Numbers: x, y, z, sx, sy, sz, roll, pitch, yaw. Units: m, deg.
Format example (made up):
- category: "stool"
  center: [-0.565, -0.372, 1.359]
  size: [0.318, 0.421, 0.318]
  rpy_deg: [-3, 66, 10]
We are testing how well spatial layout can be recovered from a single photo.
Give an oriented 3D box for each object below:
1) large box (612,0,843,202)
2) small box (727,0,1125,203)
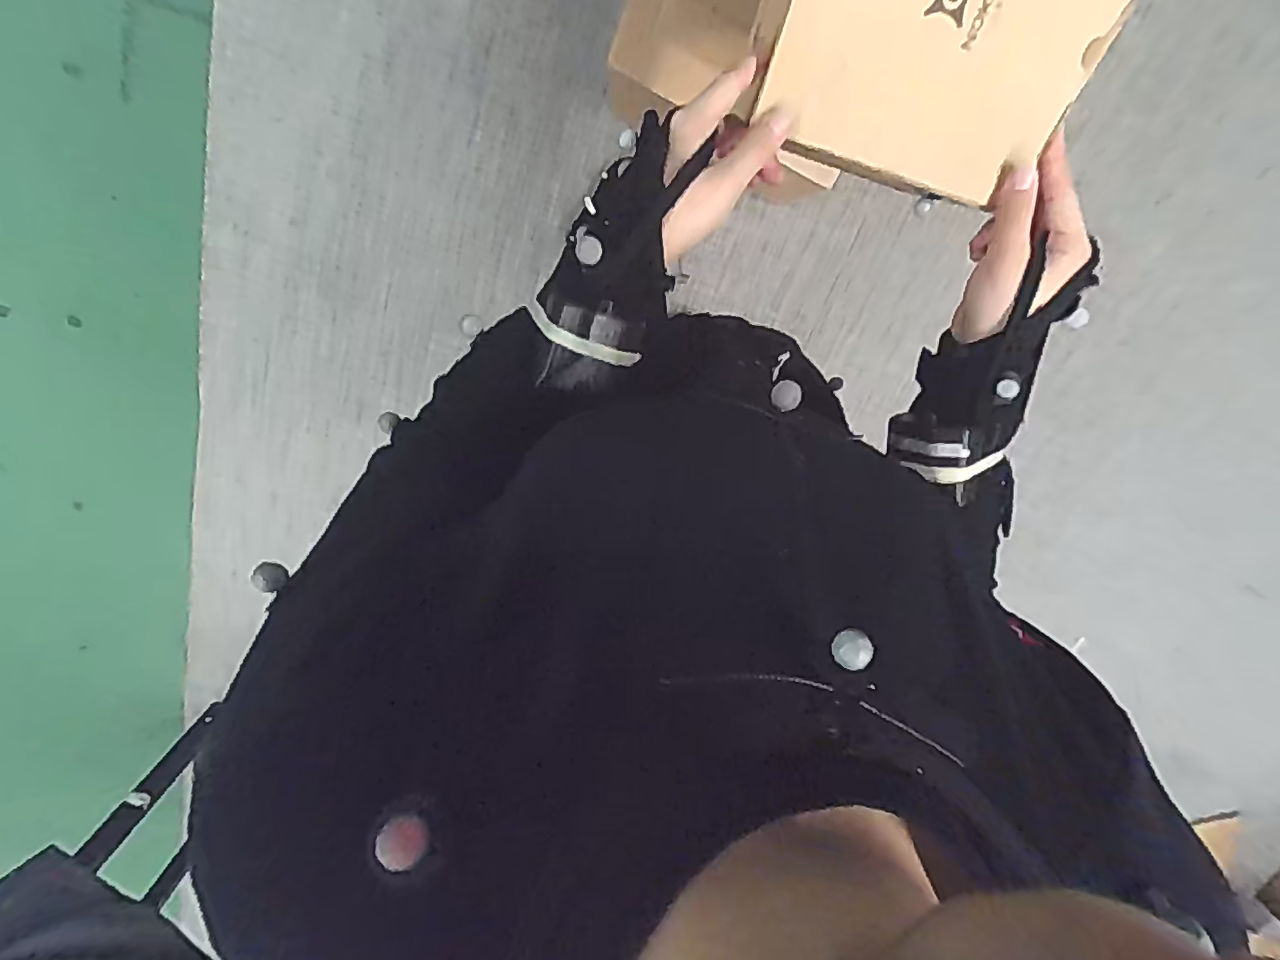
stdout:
- category: "large box"
  center: [0.189, -0.733, 0.935]
  size: [0.408, 0.320, 0.320]
  rpy_deg: [22, 111, -11]
- category: "small box"
  center: [0.168, -0.298, 0.352]
  size: [0.179, 0.176, 0.168]
  rpy_deg: [14, 121, -8]
